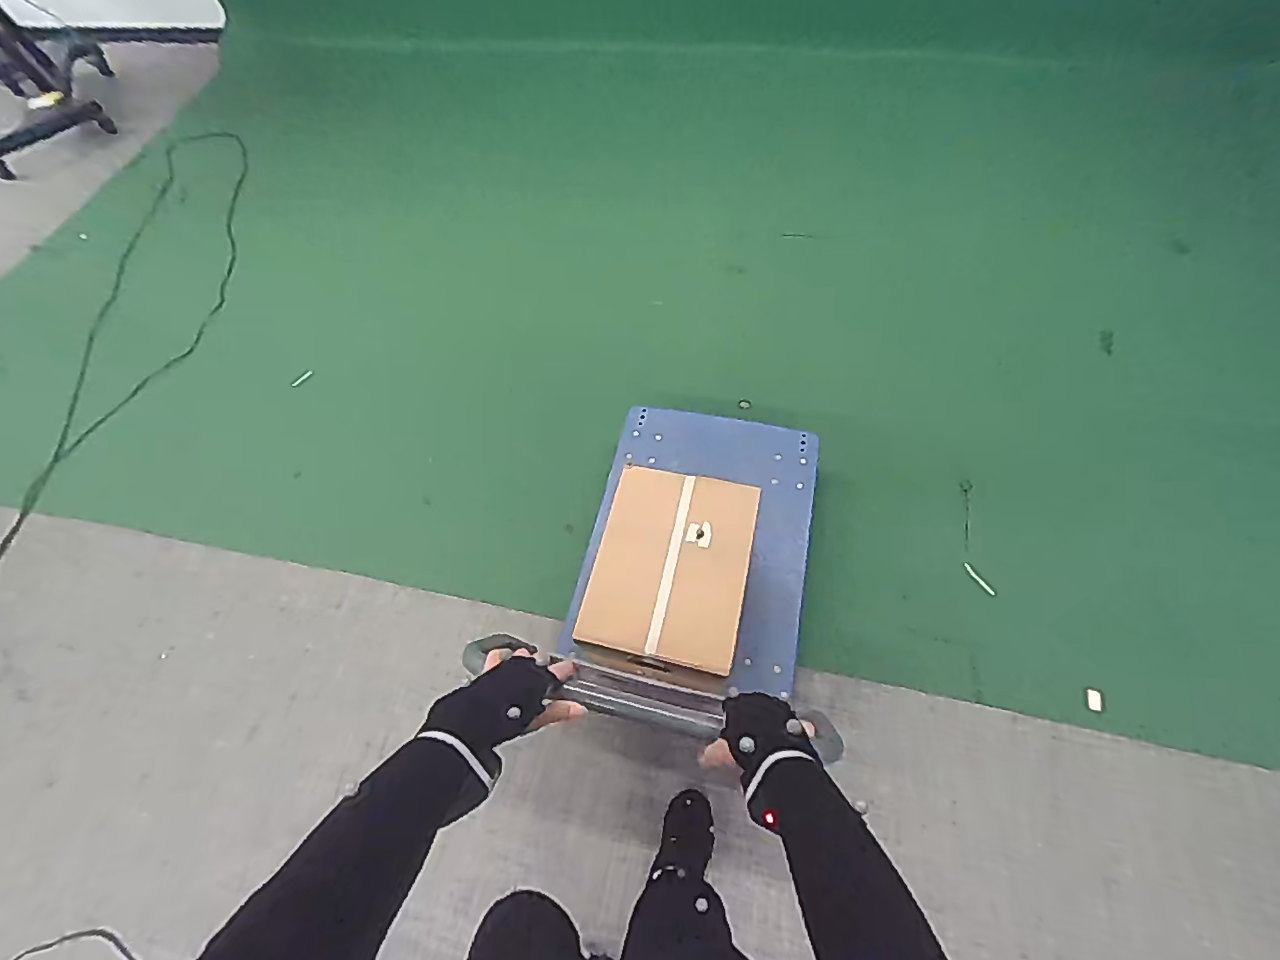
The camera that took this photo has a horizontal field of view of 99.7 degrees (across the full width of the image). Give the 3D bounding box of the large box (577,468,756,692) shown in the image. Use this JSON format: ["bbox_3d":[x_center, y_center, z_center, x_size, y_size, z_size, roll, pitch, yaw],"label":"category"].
[{"bbox_3d":[0.076,0.238,1.255,0.320,0.320,0.408,10,63,10],"label":"large box"}]
